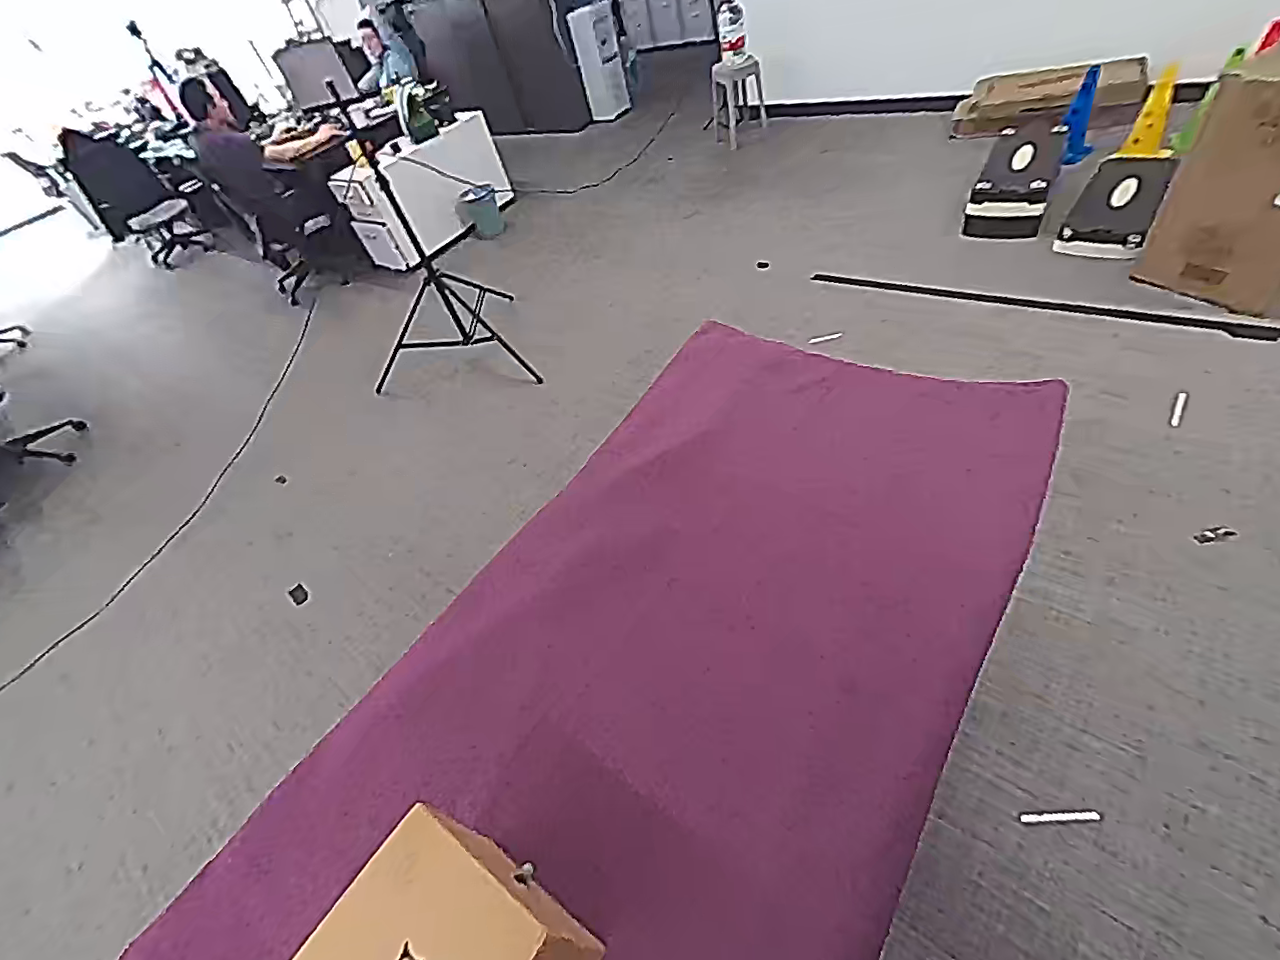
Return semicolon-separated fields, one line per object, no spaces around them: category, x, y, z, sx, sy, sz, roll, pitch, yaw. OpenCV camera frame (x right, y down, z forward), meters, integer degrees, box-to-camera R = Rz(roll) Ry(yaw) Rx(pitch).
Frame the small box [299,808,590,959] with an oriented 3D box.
small box;-0.161;0.428;0.456;0.168;0.176;0.179;19;55;32
